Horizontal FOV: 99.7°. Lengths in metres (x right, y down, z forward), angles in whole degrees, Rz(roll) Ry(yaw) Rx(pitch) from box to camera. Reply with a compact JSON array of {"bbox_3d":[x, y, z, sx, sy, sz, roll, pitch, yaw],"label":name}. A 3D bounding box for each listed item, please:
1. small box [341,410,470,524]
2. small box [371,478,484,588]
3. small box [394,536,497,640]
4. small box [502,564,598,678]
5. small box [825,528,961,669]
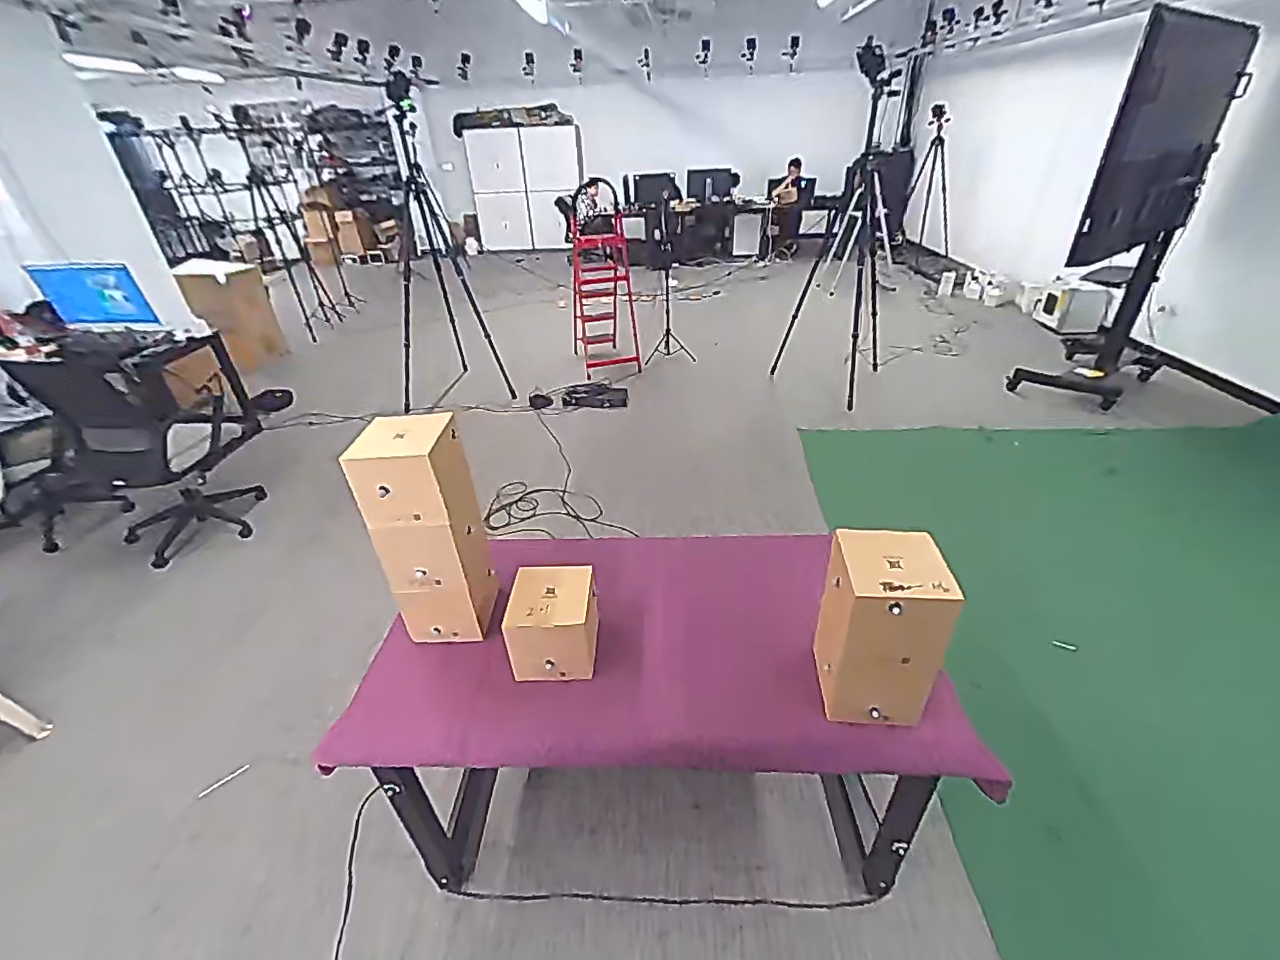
[{"bbox_3d":[-0.457,-0.023,1.088,0.168,0.176,0.179,-3,32,1],"label":"small box"},{"bbox_3d":[-0.448,0.113,1.176,0.168,0.176,0.179,-3,33,1],"label":"small box"},{"bbox_3d":[-0.443,0.251,1.264,0.168,0.176,0.179,-2,33,1],"label":"small box"},{"bbox_3d":[-0.184,0.301,1.166,0.168,0.176,0.179,-2,33,3],"label":"small box"},{"bbox_3d":[0.432,0.205,0.957,0.168,0.176,0.179,0,32,8],"label":"small box"}]
